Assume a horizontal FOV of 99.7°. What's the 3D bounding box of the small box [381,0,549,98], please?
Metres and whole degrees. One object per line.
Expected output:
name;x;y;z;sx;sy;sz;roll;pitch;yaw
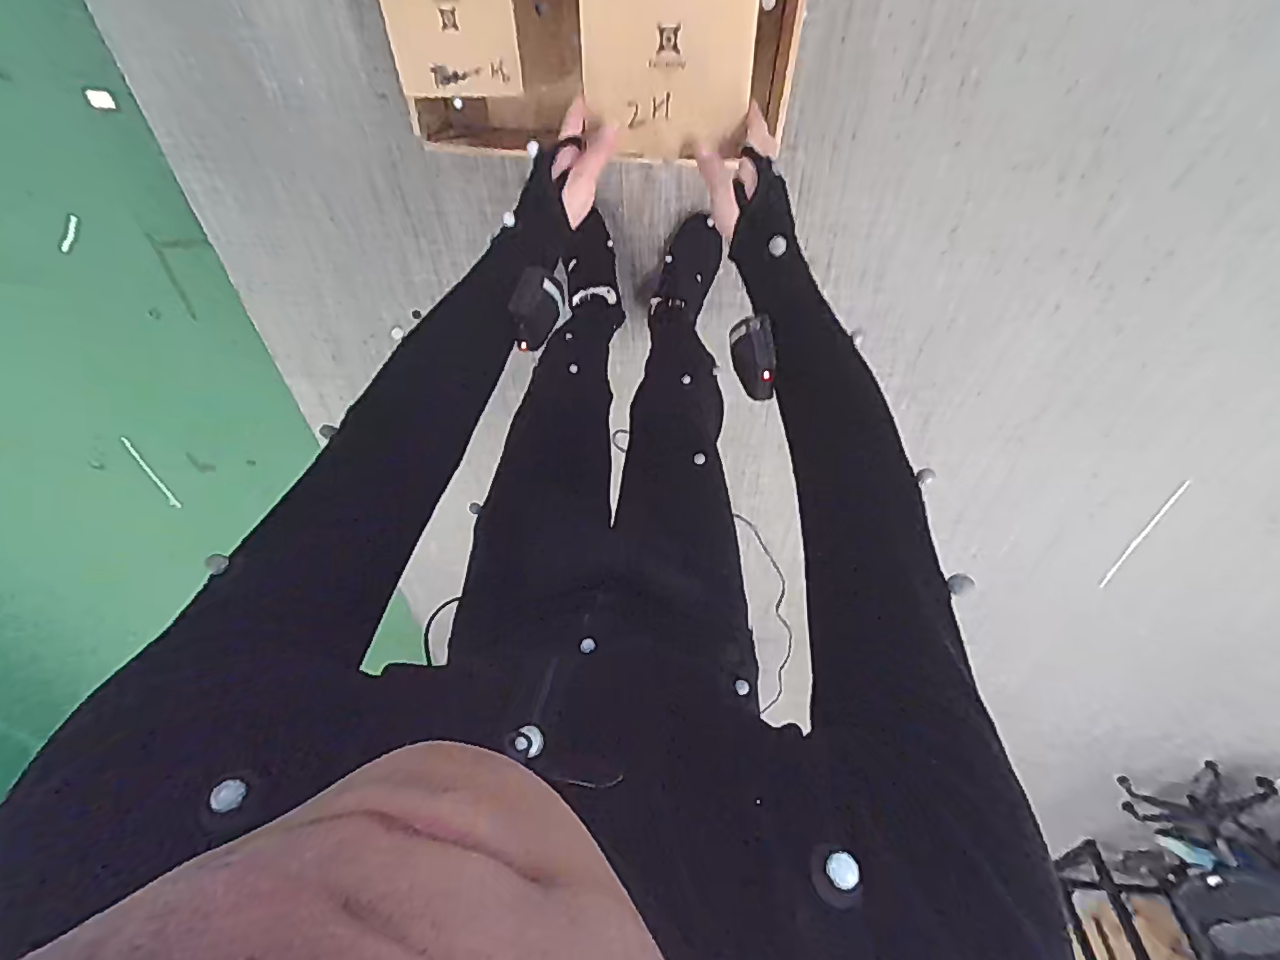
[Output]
small box;-0.225;-0.619;0.716;0.168;0.176;0.179;4;129;5

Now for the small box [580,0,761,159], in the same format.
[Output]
small box;0.032;-0.446;0.568;0.168;0.176;0.179;4;125;5
